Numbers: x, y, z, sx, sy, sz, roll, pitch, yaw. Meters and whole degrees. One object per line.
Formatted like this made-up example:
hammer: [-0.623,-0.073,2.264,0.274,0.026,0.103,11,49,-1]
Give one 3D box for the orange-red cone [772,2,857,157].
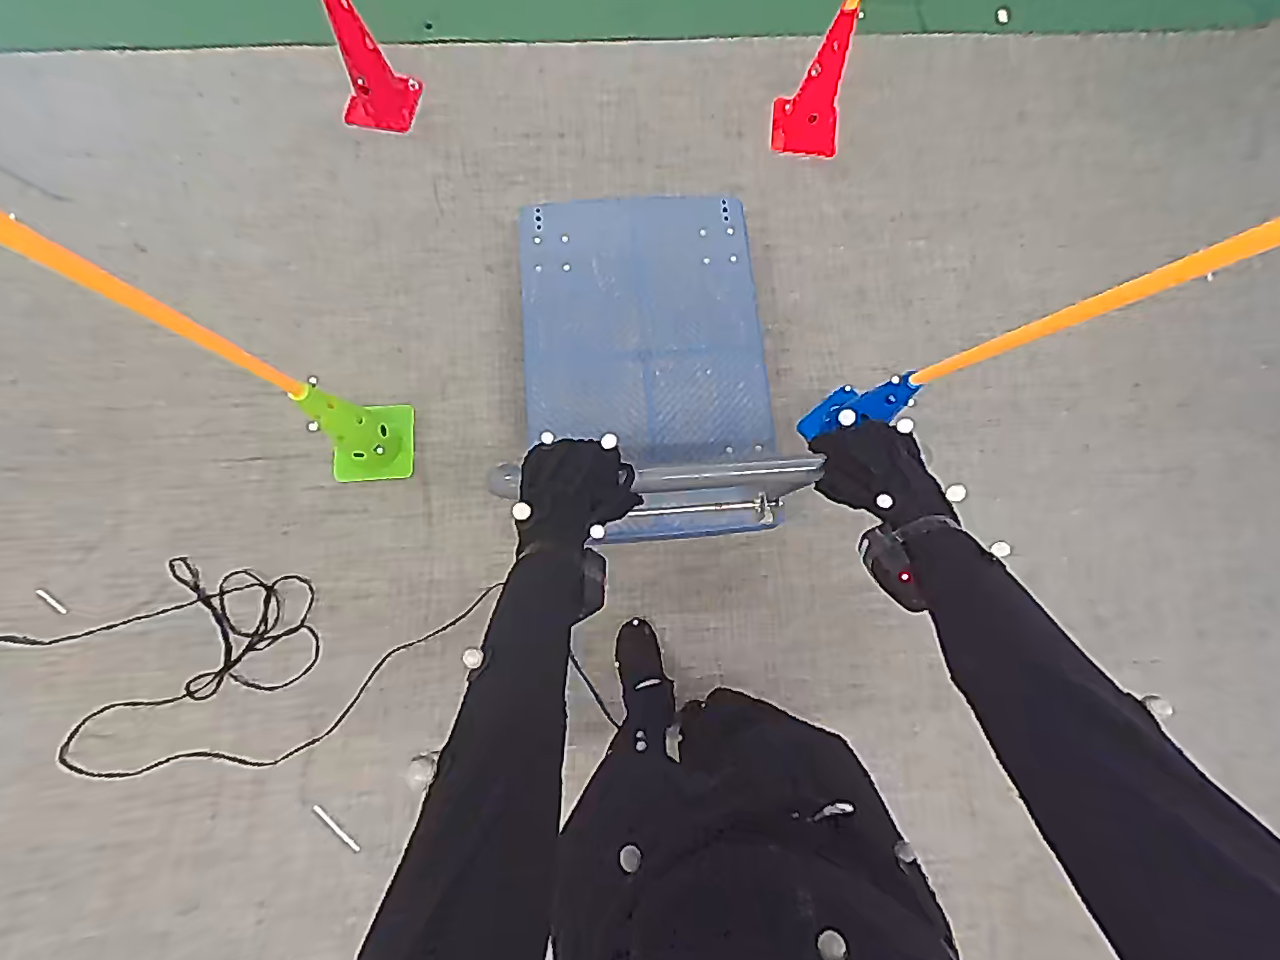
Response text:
orange-red cone: [0.517,-1.126,1.507,0.198,0.360,0.199,8,78,1]
